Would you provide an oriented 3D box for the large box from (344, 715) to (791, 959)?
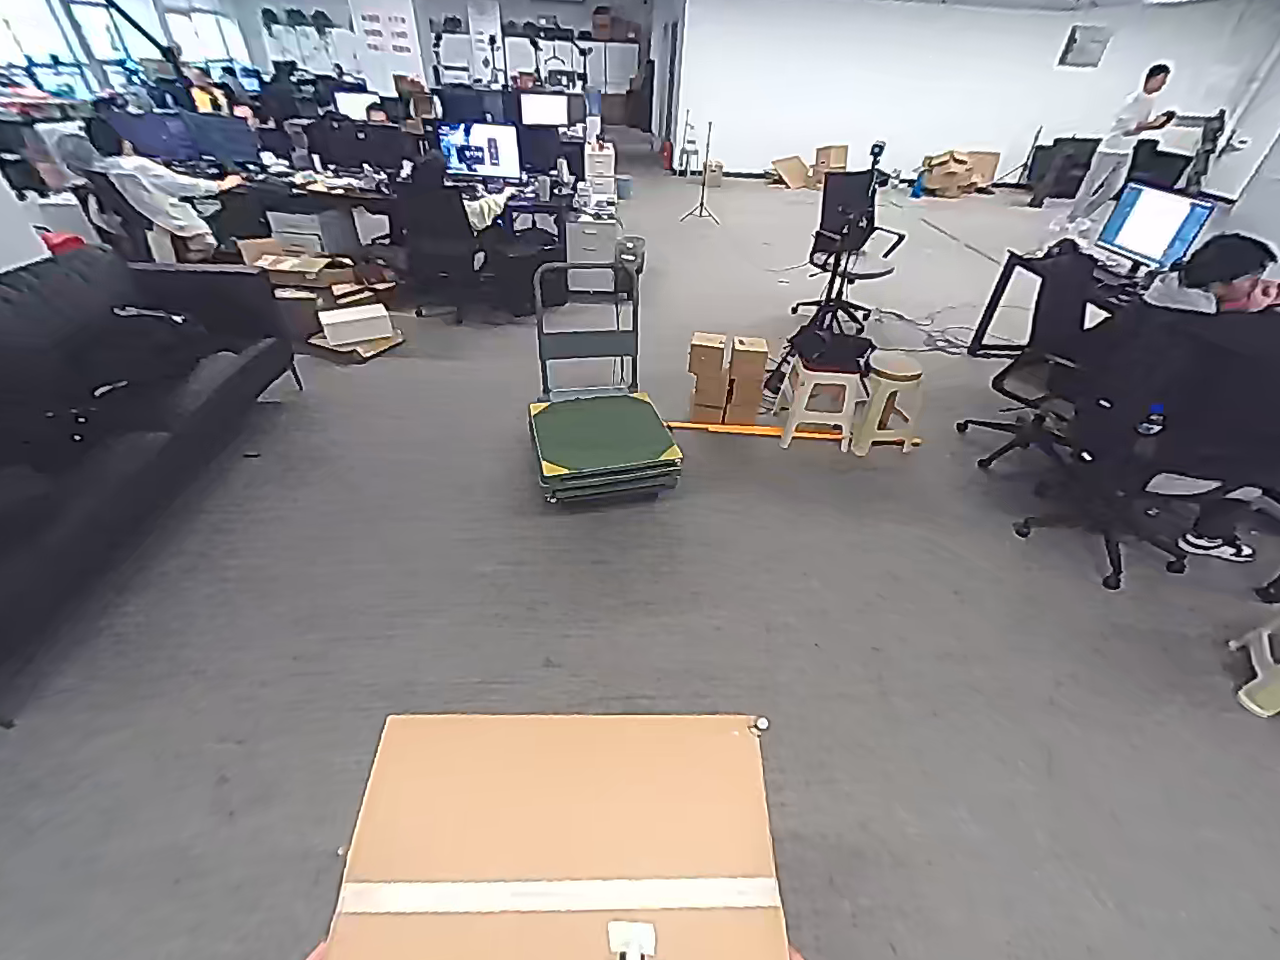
[{"bbox_3d":[-0.070,0.478,0.624,0.408,0.320,0.320,0,53,-2],"label":"large box"}]
